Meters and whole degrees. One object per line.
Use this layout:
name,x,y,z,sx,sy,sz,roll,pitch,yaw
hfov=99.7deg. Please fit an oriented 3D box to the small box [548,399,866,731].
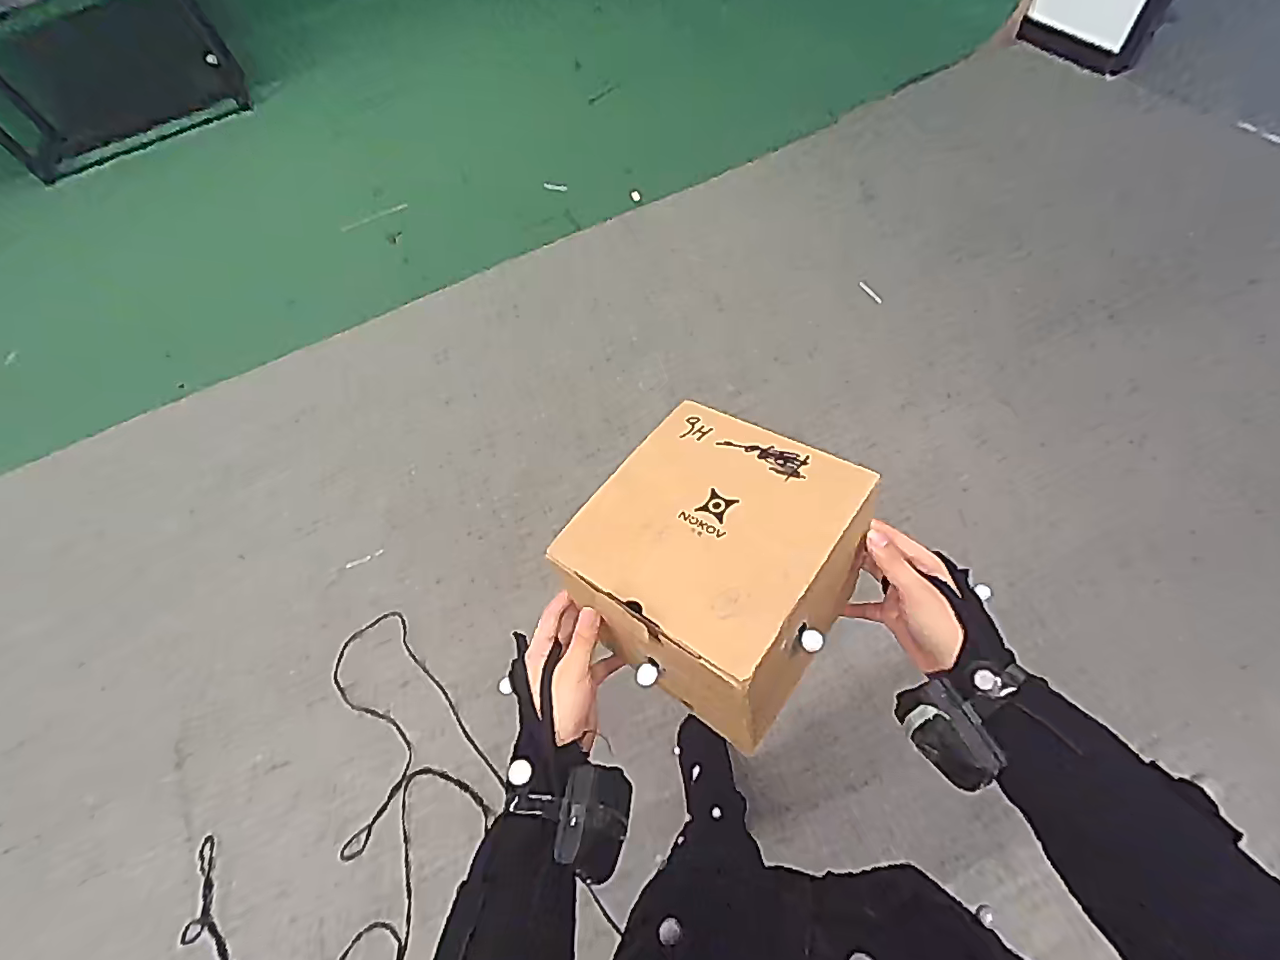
small box,0.062,0.071,0.443,0.168,0.176,0.179,28,64,30
